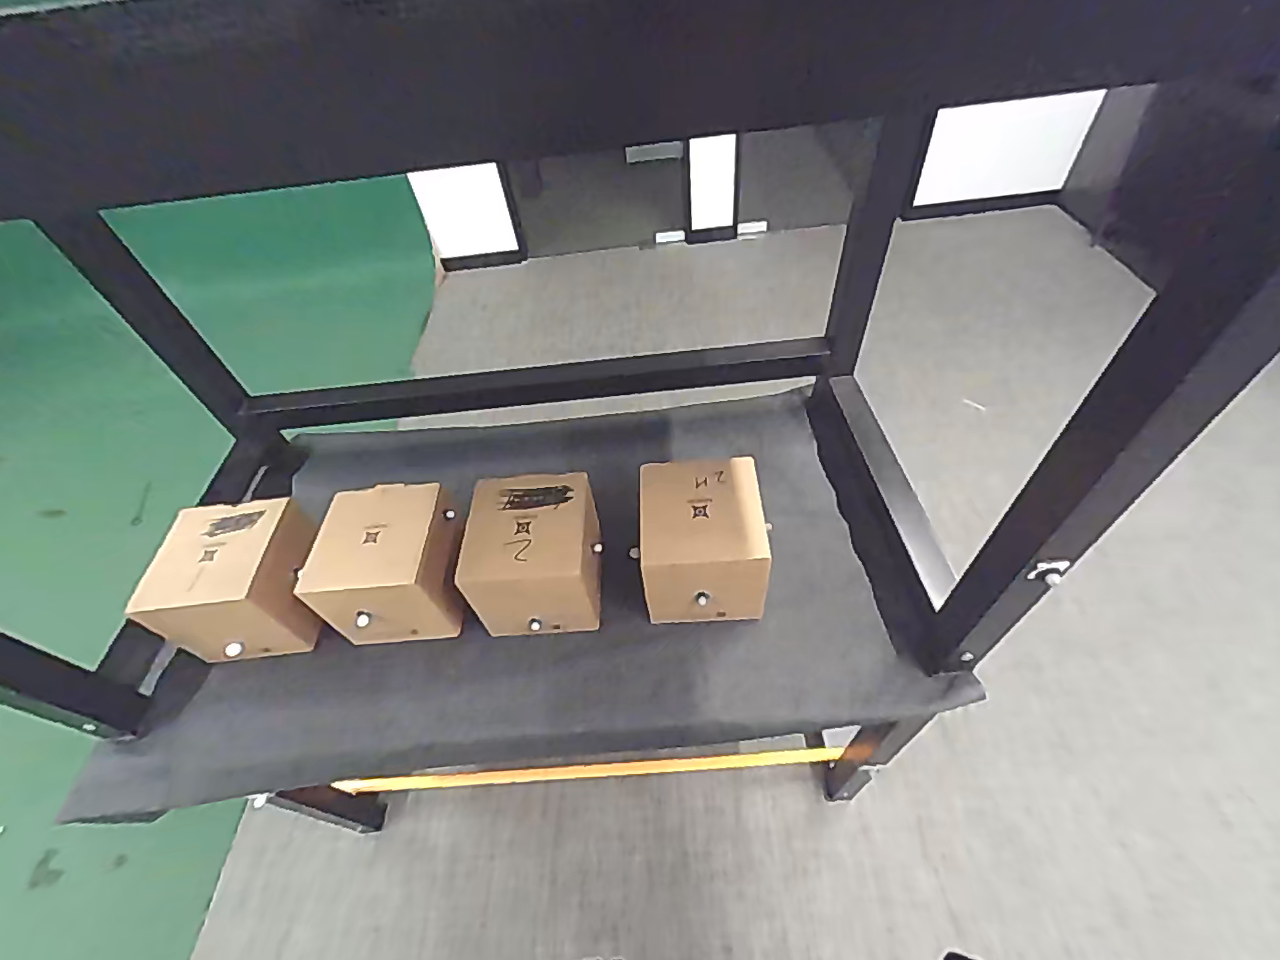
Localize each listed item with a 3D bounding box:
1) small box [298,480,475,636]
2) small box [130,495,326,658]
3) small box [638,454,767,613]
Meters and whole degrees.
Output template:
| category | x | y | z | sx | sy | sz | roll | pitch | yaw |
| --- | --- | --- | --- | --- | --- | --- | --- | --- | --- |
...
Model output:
| category | x | y | z | sx | sy | sz | roll | pitch | yaw |
| --- | --- | --- | --- | --- | --- | --- | --- | --- | --- |
| small box | -0.365 | 0.125 | 0.819 | 0.168 | 0.176 | 0.179 | -5 | 48 | 2 |
| small box | -0.591 | 0.148 | 0.823 | 0.168 | 0.176 | 0.179 | -7 | 49 | 1 |
| small box | 0.088 | 0.085 | 0.791 | 0.168 | 0.176 | 0.179 | -3 | 49 | 4 |
